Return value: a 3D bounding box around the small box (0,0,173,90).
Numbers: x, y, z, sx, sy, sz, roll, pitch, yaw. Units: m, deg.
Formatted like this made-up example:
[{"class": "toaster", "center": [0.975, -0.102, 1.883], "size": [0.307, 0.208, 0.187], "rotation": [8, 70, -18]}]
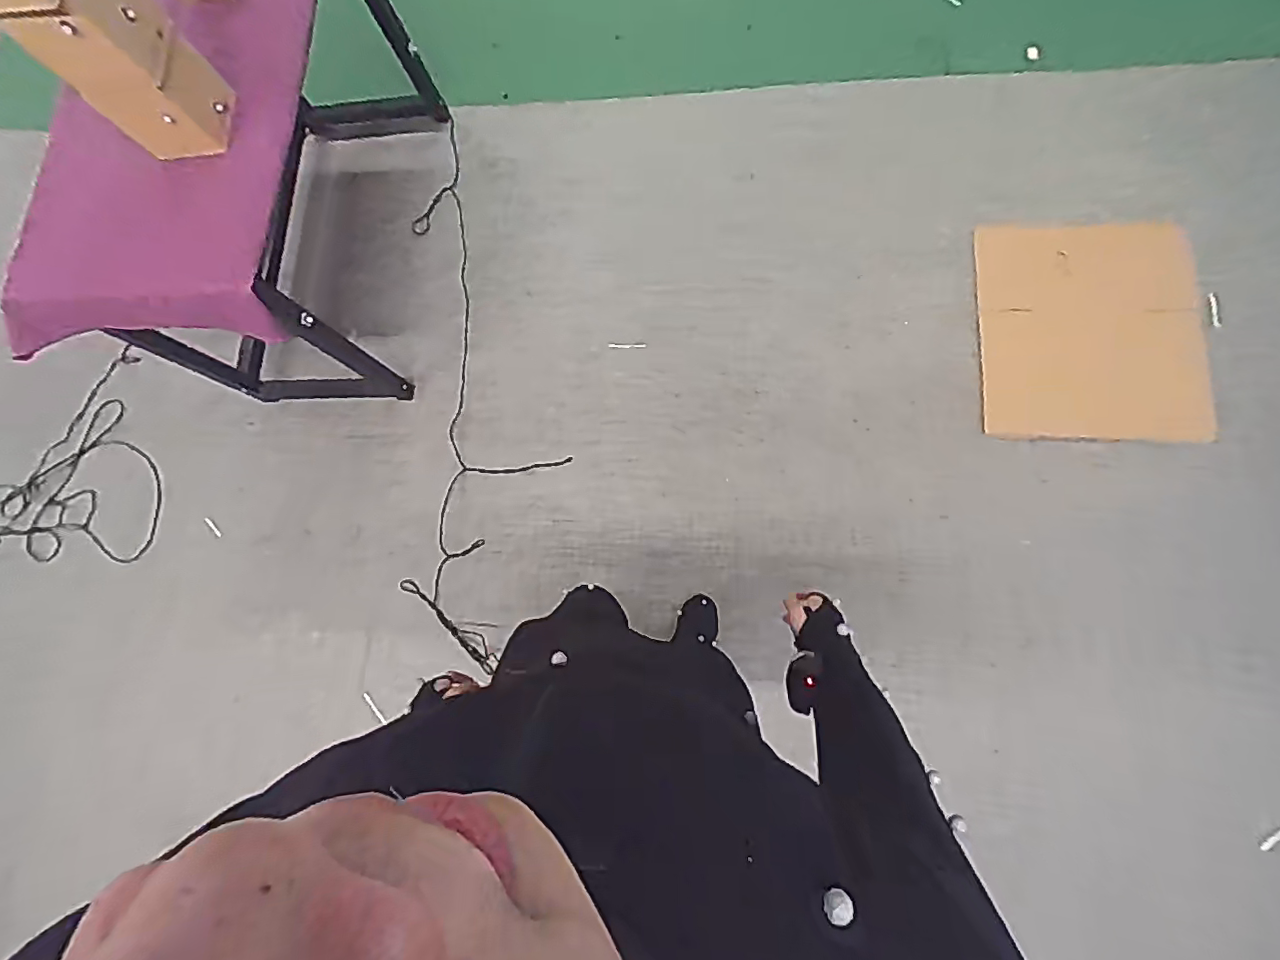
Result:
[{"class": "small box", "center": [-1.038, -0.877, 1.016], "size": [0.179, 0.176, 0.168], "rotation": [-1, 78, 7]}]
